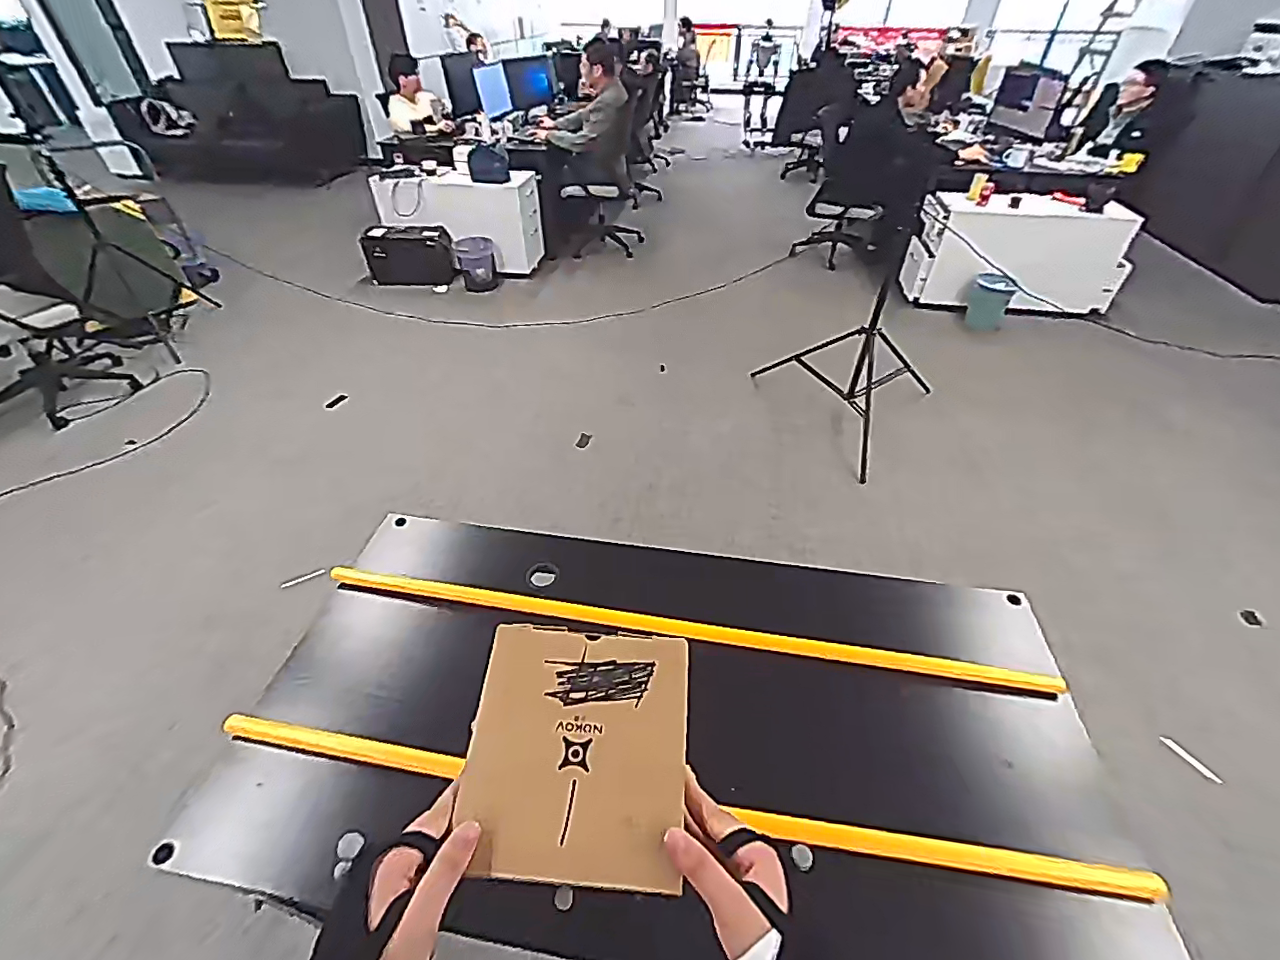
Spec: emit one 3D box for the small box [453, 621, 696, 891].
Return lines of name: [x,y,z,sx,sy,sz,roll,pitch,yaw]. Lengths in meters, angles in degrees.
small box: [-0.043,0.247,0.479,0.168,0.176,0.179,4,53,2]
